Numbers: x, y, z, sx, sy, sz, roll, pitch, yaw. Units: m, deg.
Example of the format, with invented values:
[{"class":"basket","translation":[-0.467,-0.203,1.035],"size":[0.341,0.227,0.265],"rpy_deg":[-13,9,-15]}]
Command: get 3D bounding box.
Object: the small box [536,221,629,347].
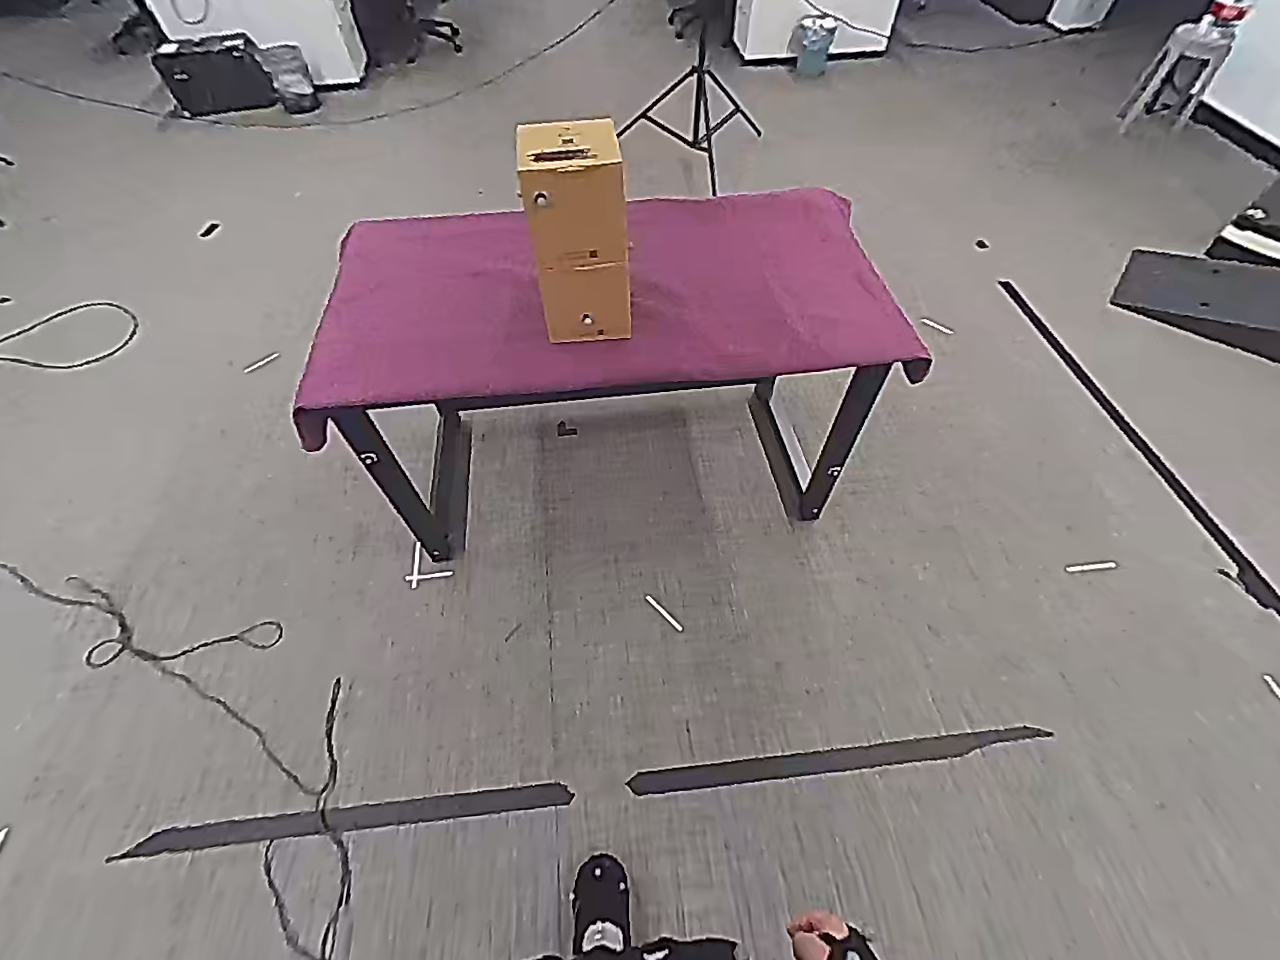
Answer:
[{"class":"small box","translation":[-0.111,-0.390,1.082],"size":[0.168,0.176,0.179],"rpy_deg":[-5,54,-2]}]
